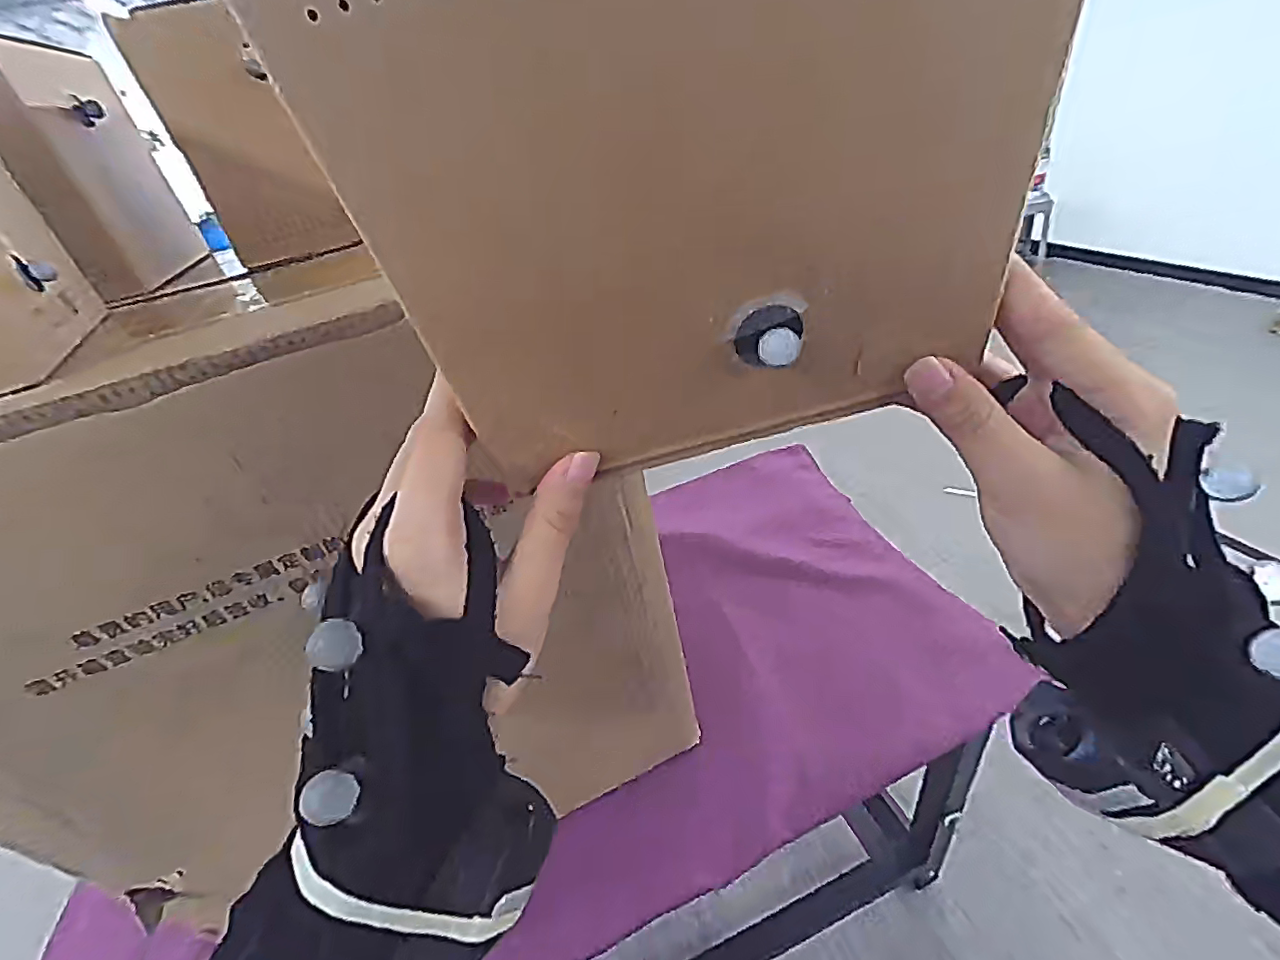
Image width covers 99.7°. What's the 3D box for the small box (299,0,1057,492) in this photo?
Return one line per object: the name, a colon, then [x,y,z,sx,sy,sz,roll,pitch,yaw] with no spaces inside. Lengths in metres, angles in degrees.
small box: [0.011,-0.126,0.197,0.179,0.176,0.168,-14,45,3]
